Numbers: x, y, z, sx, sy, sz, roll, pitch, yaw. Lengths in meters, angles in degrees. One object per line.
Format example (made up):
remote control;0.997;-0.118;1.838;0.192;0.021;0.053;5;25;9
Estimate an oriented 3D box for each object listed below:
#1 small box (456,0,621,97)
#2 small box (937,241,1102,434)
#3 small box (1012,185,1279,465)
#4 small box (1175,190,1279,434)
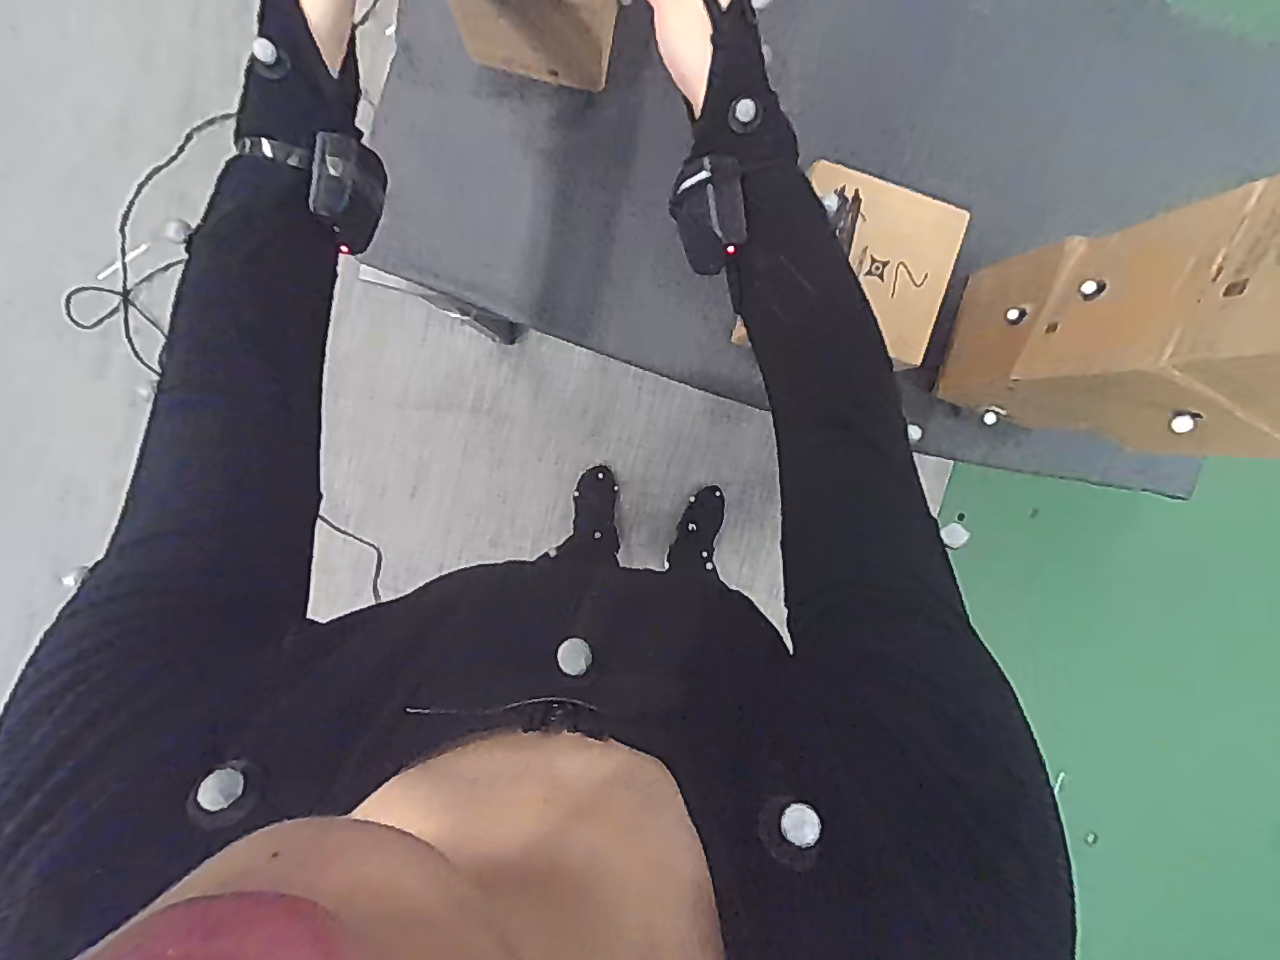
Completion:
small box;-0.103;-0.561;0.574;0.168;0.176;0.179;10;97;-6
small box;0.507;-0.162;0.669;0.168;0.176;0.179;15;96;-5
small box;0.515;-0.129;0.510;0.179;0.176;0.168;26;94;-5
small box;0.530;-0.112;0.347;0.179;0.176;0.168;27;93;-5
